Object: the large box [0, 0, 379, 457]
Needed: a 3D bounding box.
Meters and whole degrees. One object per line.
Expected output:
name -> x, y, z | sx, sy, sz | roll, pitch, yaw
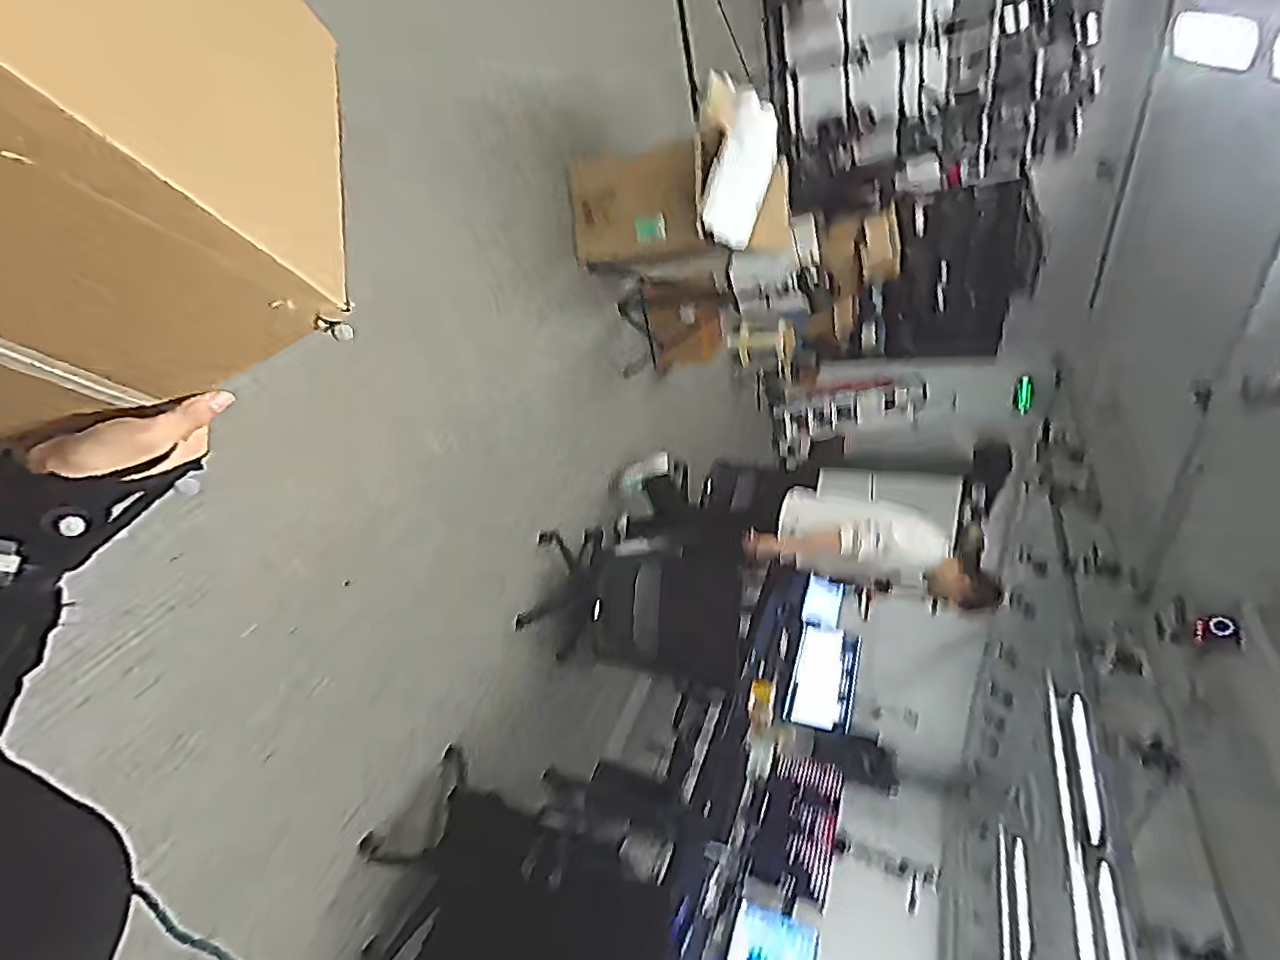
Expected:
large box -> -0.404, -0.257, 0.245 | 0.408, 0.320, 0.320 | 39, 33, -64
